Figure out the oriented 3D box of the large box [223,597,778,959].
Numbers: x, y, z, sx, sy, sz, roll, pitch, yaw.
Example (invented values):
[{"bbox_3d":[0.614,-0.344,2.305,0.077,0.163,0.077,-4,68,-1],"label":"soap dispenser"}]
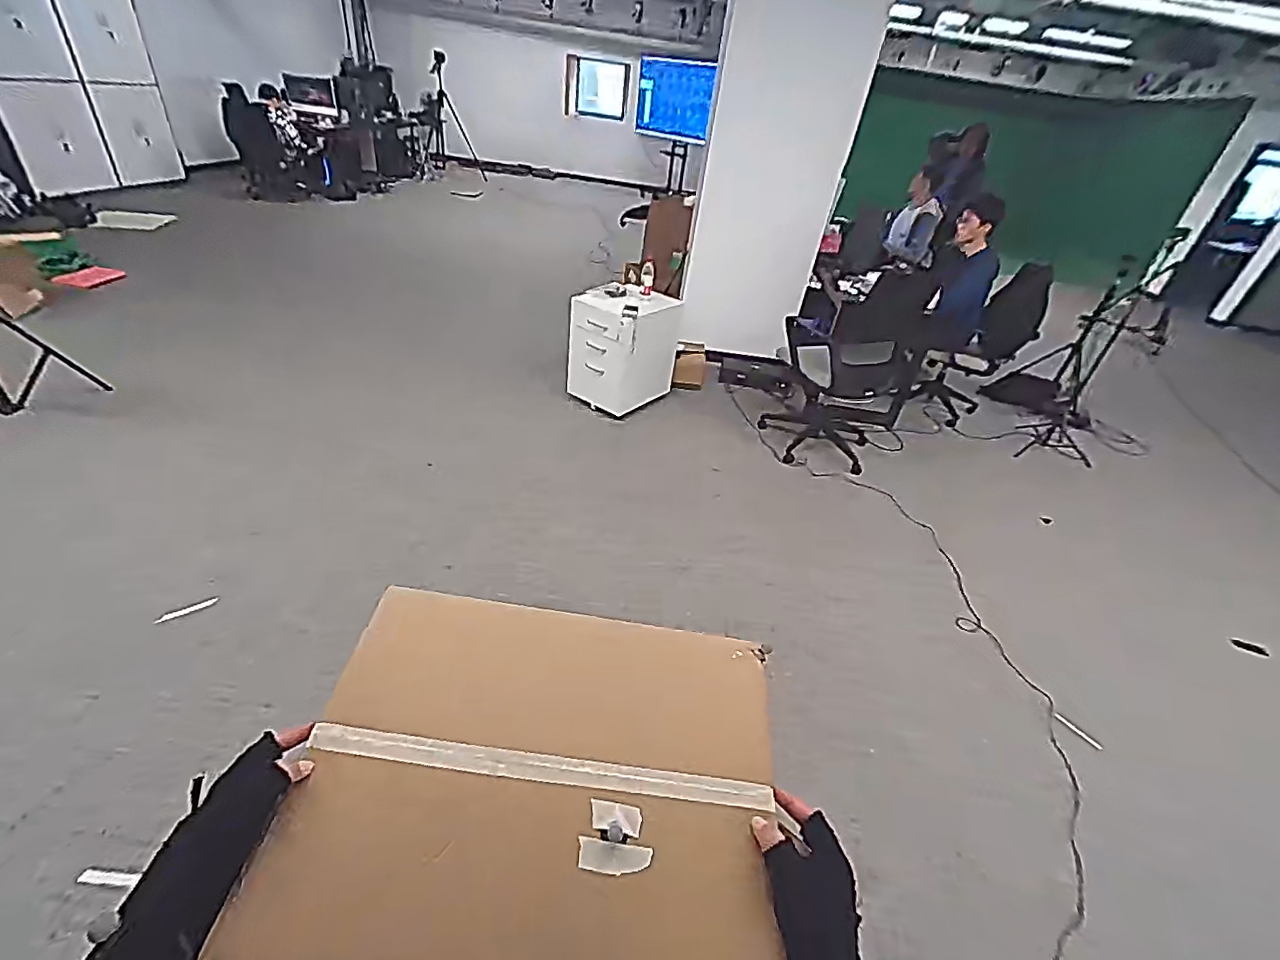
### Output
[{"bbox_3d":[-0.105,0.365,0.587,0.408,0.320,0.320,10,44,-2],"label":"large box"}]
